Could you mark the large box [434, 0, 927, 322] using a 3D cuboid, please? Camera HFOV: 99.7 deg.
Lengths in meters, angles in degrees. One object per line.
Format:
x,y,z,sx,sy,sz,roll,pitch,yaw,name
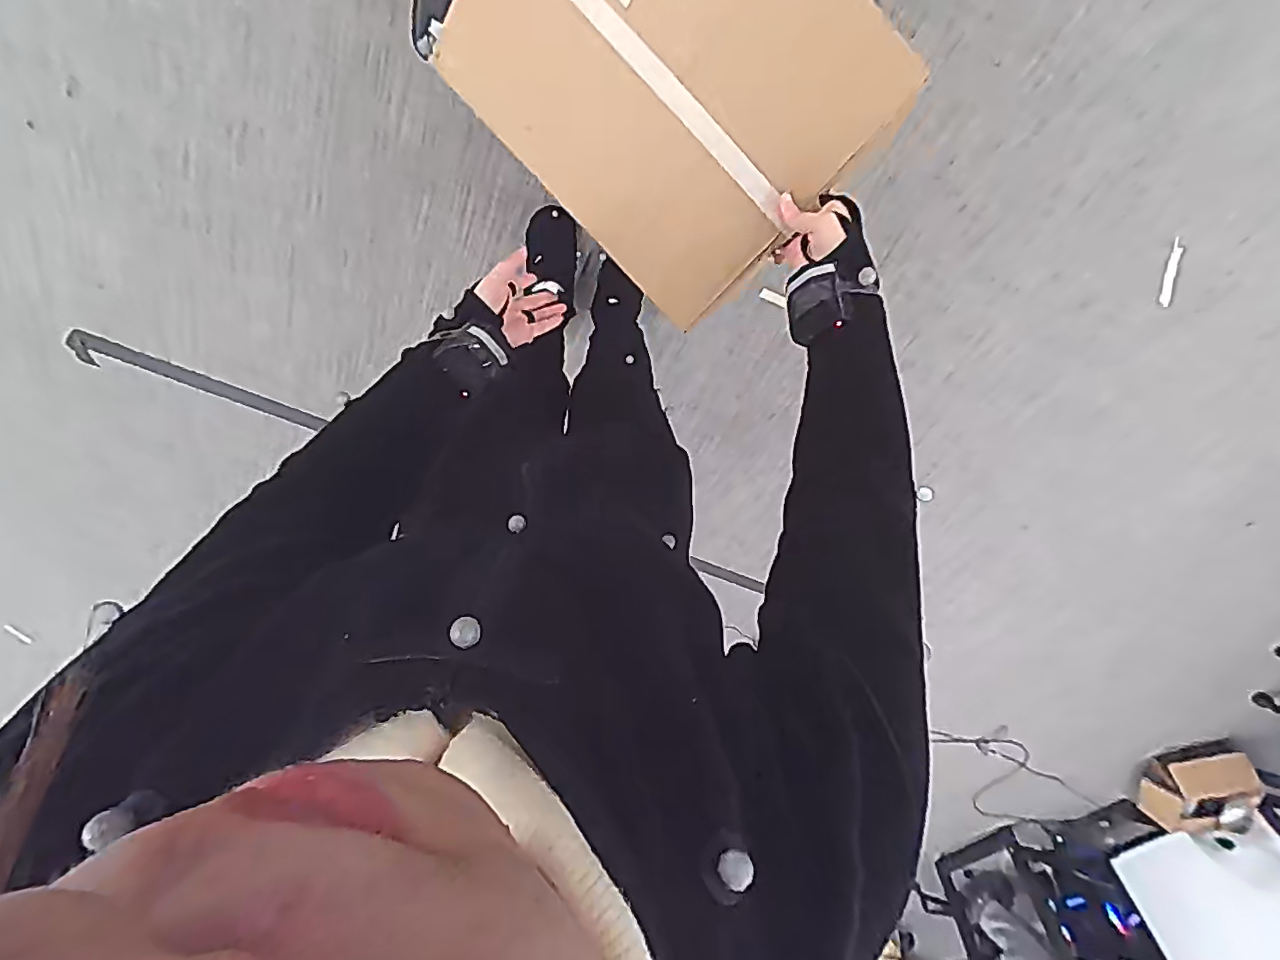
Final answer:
0.060,-0.460,0.639,0.408,0.320,0.320,45,122,-4,large box
